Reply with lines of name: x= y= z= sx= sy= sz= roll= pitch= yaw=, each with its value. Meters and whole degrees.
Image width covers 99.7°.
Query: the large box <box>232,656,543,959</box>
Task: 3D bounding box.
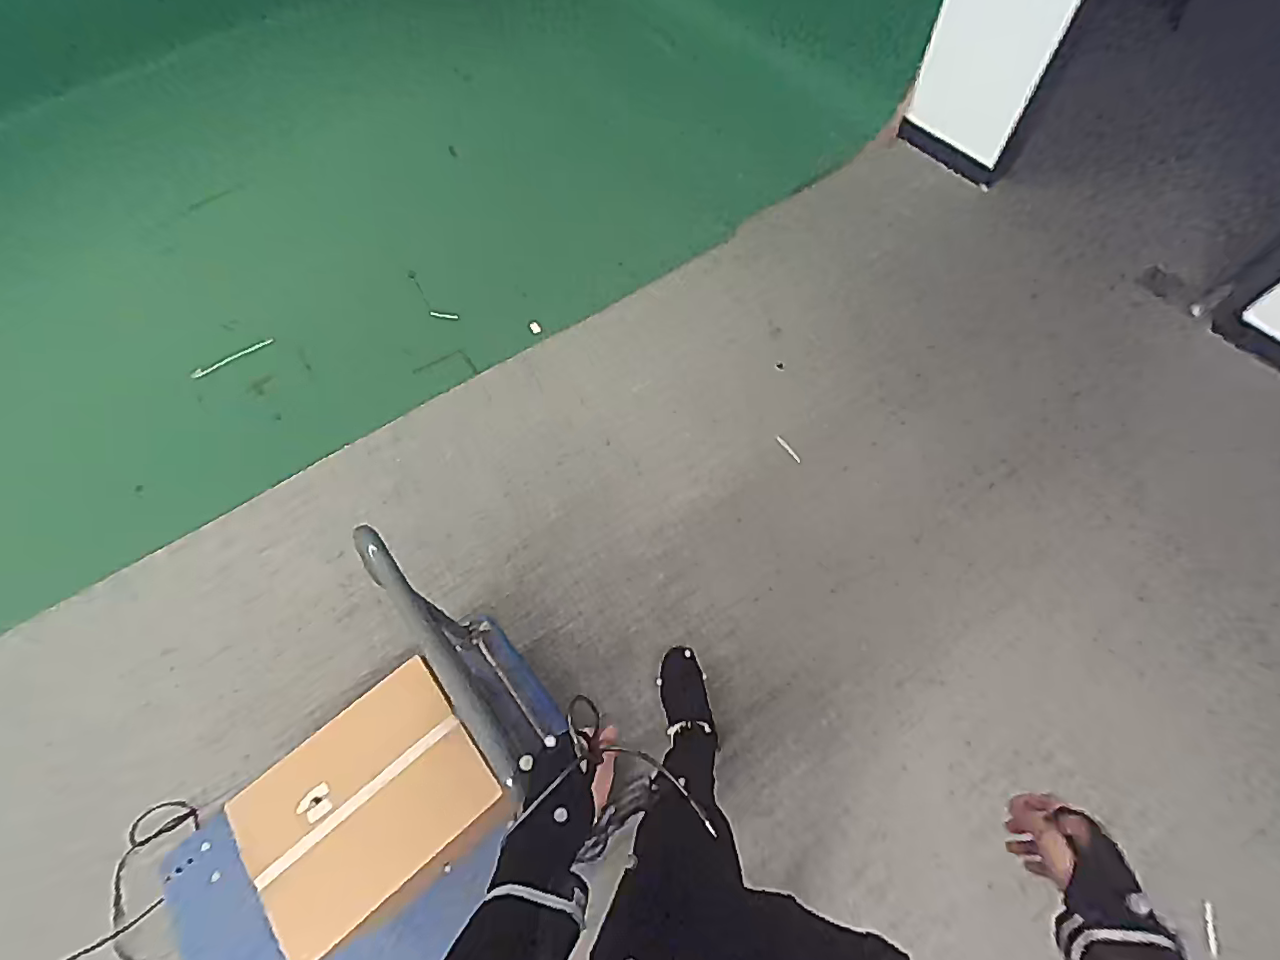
large box: x=-0.467 y=0.622 z=1.082 sx=0.408 sy=0.320 sz=0.320 roll=-39 pitch=67 yaw=-13
